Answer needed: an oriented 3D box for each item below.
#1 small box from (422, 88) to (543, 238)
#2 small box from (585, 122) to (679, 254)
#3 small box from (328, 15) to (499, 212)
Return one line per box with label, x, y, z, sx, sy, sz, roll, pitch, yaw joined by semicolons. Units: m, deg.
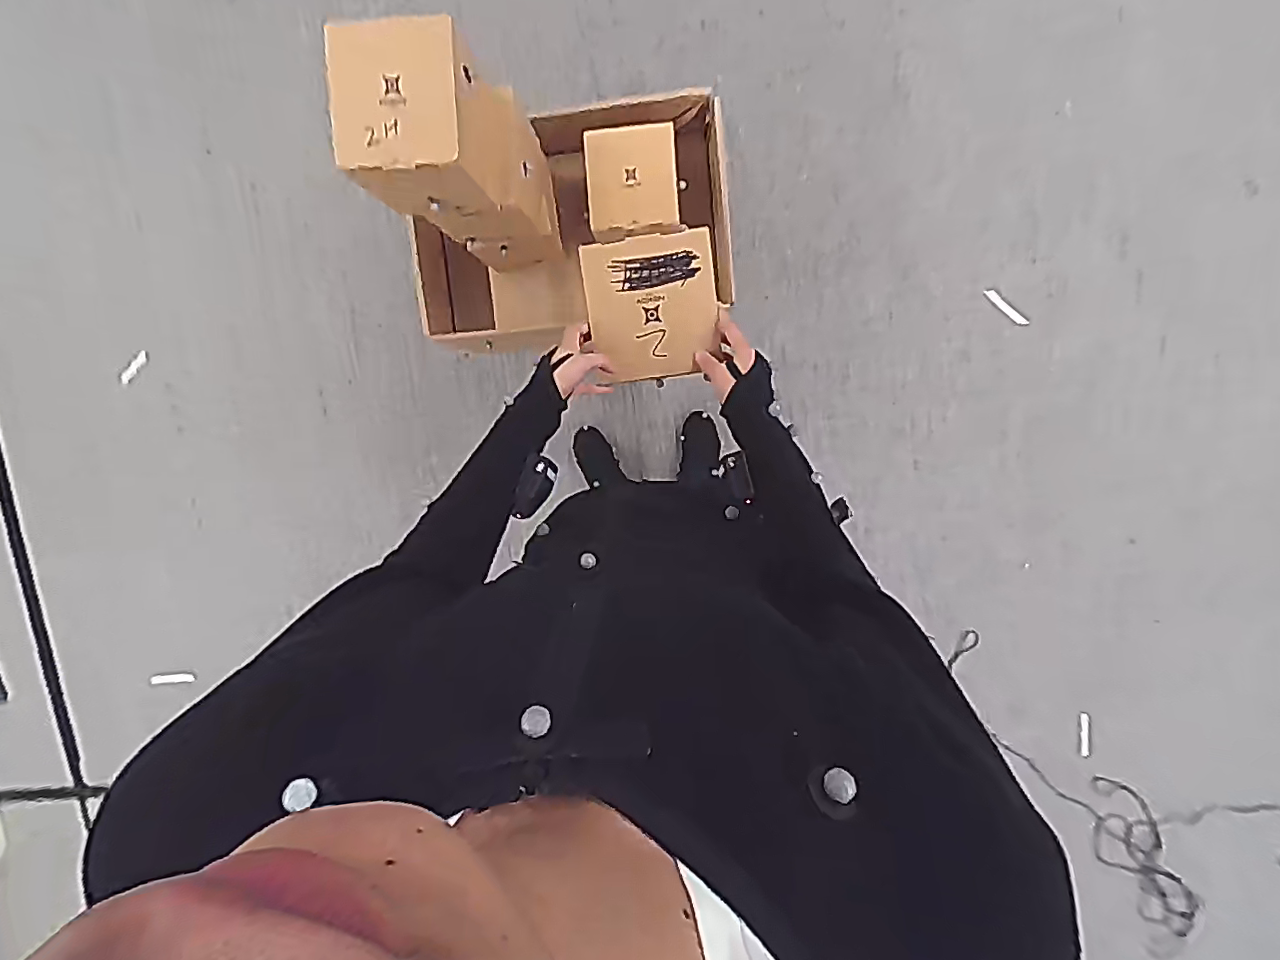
small box;-0.266;-0.524;0.922;0.168;0.176;0.179;-2;97;3
small box;-0.011;-0.567;1.069;0.168;0.176;0.179;-4;98;4
small box;-0.304;-0.500;0.761;0.168;0.176;0.179;-1;98;3
